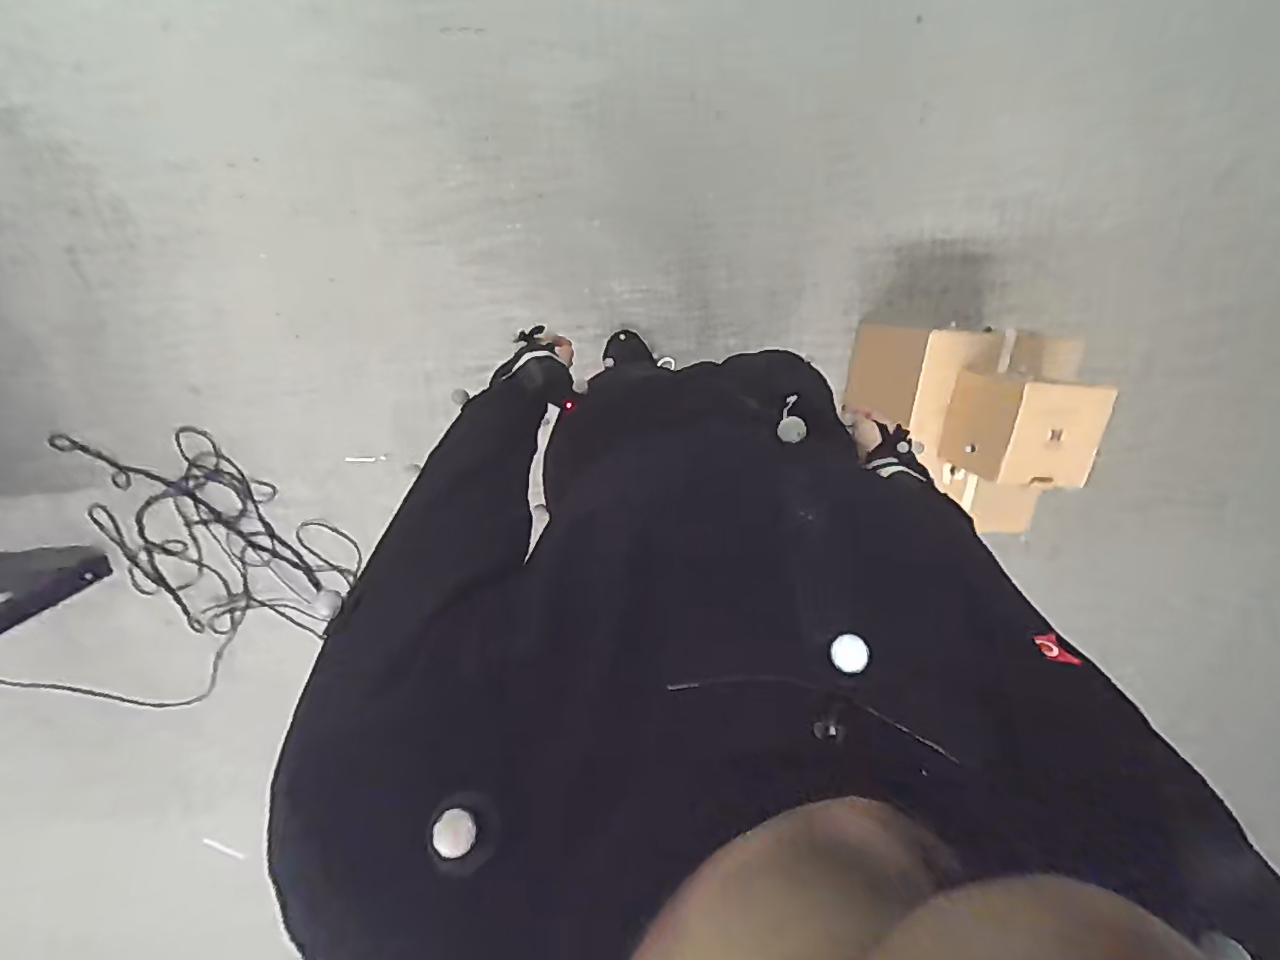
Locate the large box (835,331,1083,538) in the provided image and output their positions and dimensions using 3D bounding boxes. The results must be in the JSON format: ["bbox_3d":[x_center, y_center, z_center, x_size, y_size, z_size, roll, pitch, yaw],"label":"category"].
[{"bbox_3d":[0.670,-0.116,1.209,0.320,0.320,0.408,2,108,-3],"label":"large box"}]

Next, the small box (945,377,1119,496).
[{"bbox_3d":[0.680,-0.083,0.965,0.168,0.176,0.179,2,106,-6],"label":"small box"}]
